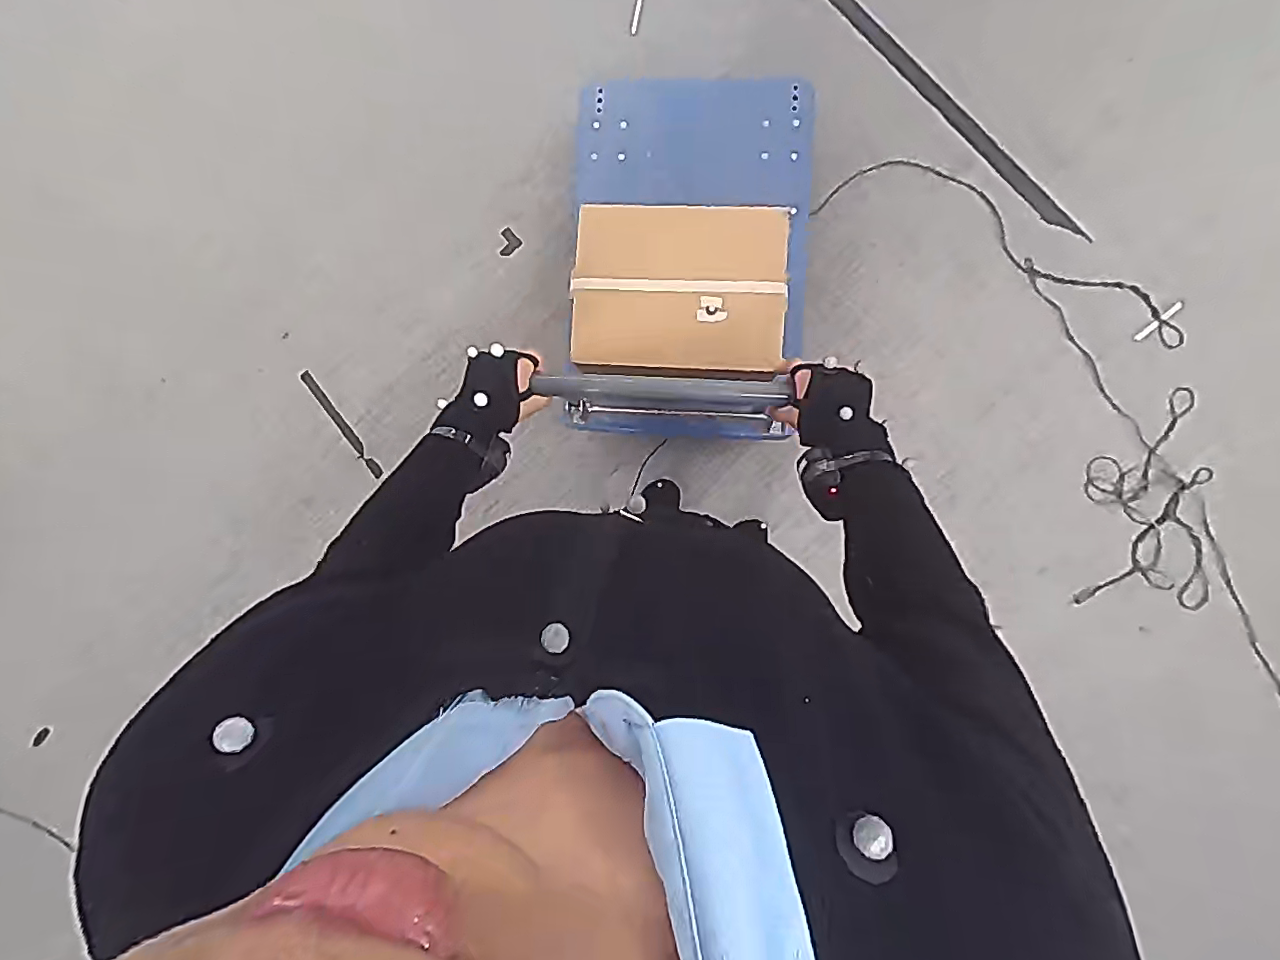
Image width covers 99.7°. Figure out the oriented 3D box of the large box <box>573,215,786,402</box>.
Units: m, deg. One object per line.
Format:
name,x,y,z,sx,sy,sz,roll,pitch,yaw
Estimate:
large box,0.082,-0.352,1.185,0.408,0.320,0.320,4,90,4
